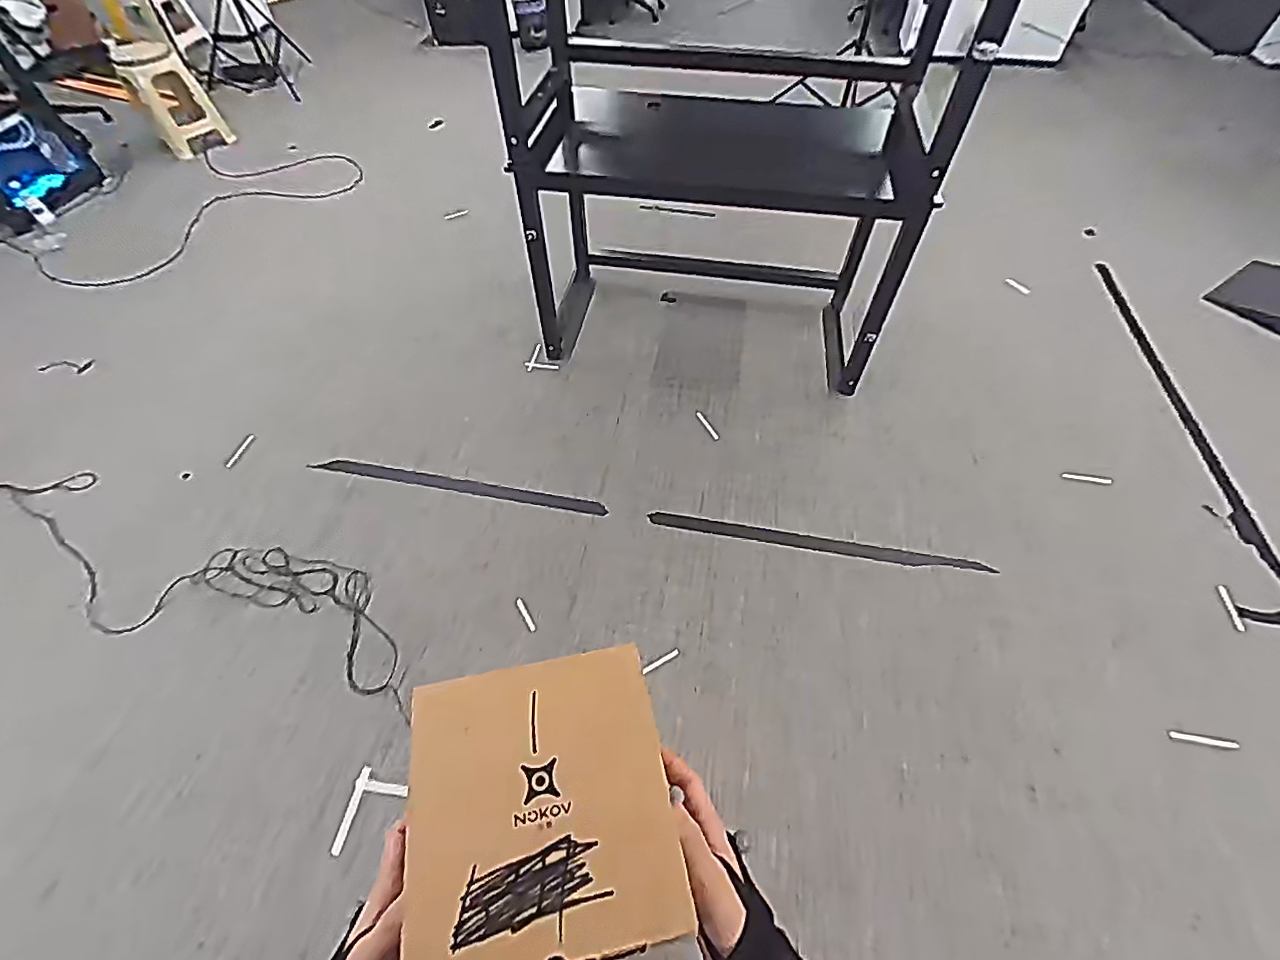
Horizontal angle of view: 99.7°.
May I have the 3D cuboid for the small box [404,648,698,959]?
[{"bbox_3d":[-0.062,0.252,0.405,0.168,0.176,0.179,-8,51,-9],"label":"small box"}]
